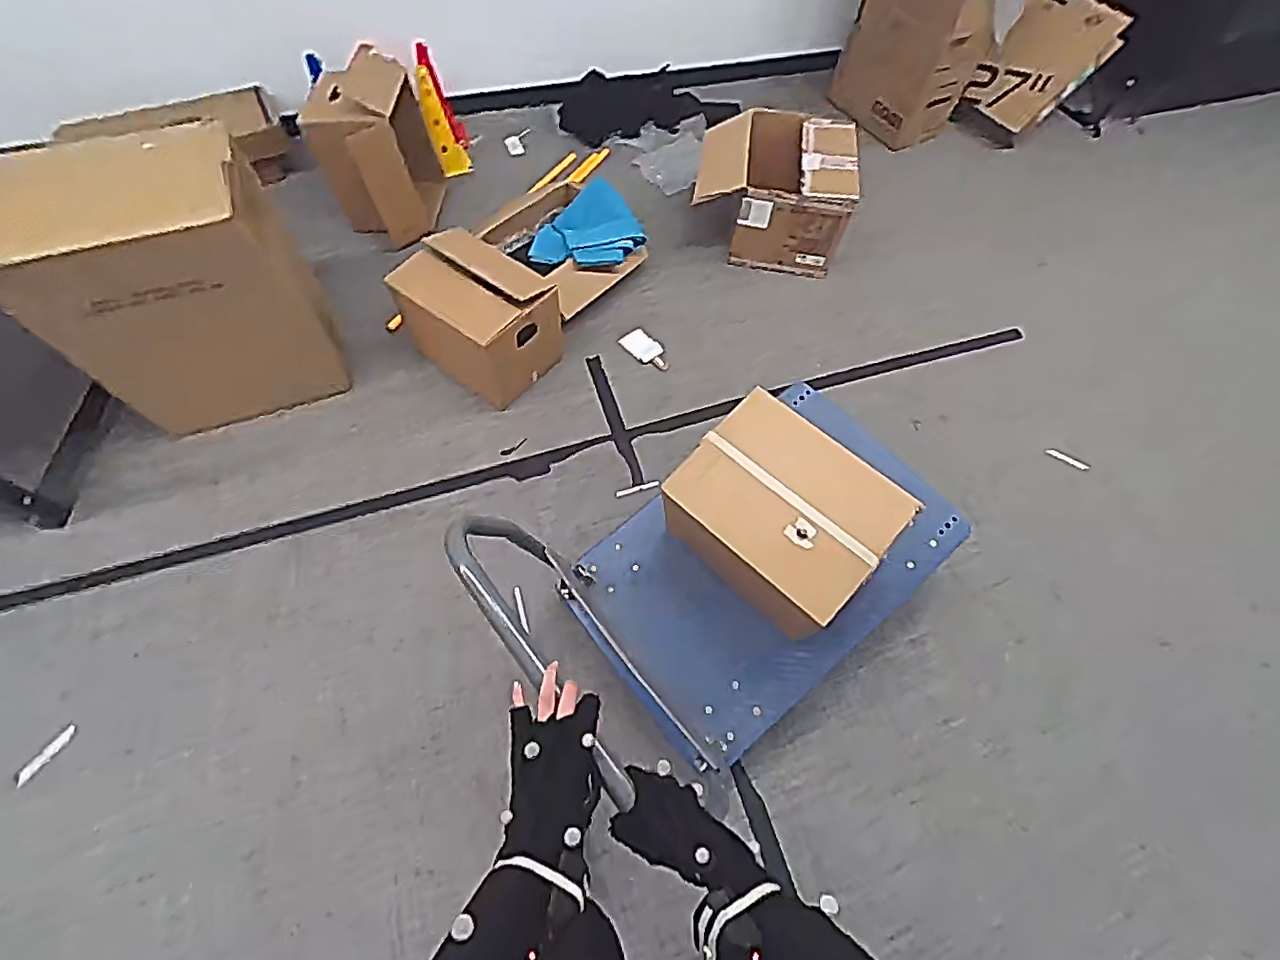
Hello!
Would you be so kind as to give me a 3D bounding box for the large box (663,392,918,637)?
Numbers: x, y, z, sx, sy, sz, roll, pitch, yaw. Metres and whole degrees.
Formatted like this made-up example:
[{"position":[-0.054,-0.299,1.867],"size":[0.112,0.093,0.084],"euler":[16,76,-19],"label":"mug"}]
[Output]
[{"position":[0.299,0.087,1.201],"size":[0.408,0.320,0.320],"euler":[40,77,17],"label":"large box"}]
